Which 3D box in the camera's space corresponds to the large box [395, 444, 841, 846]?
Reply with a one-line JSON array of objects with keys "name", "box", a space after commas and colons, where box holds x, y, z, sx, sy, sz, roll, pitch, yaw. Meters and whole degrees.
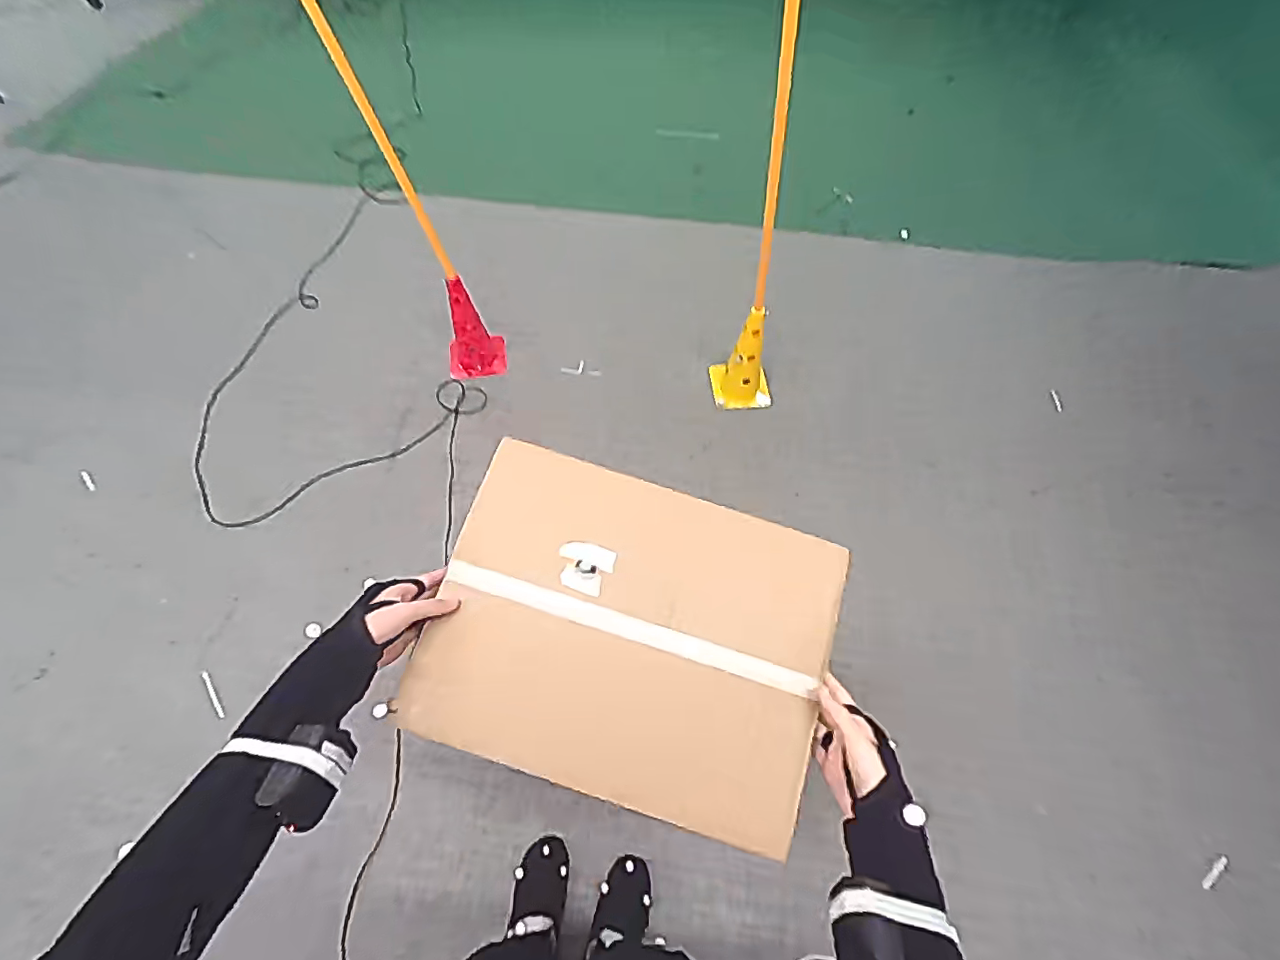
[{"name": "large box", "box": [-0.013, 0.195, 0.706, 0.408, 0.320, 0.320, 18, 73, 3]}]
